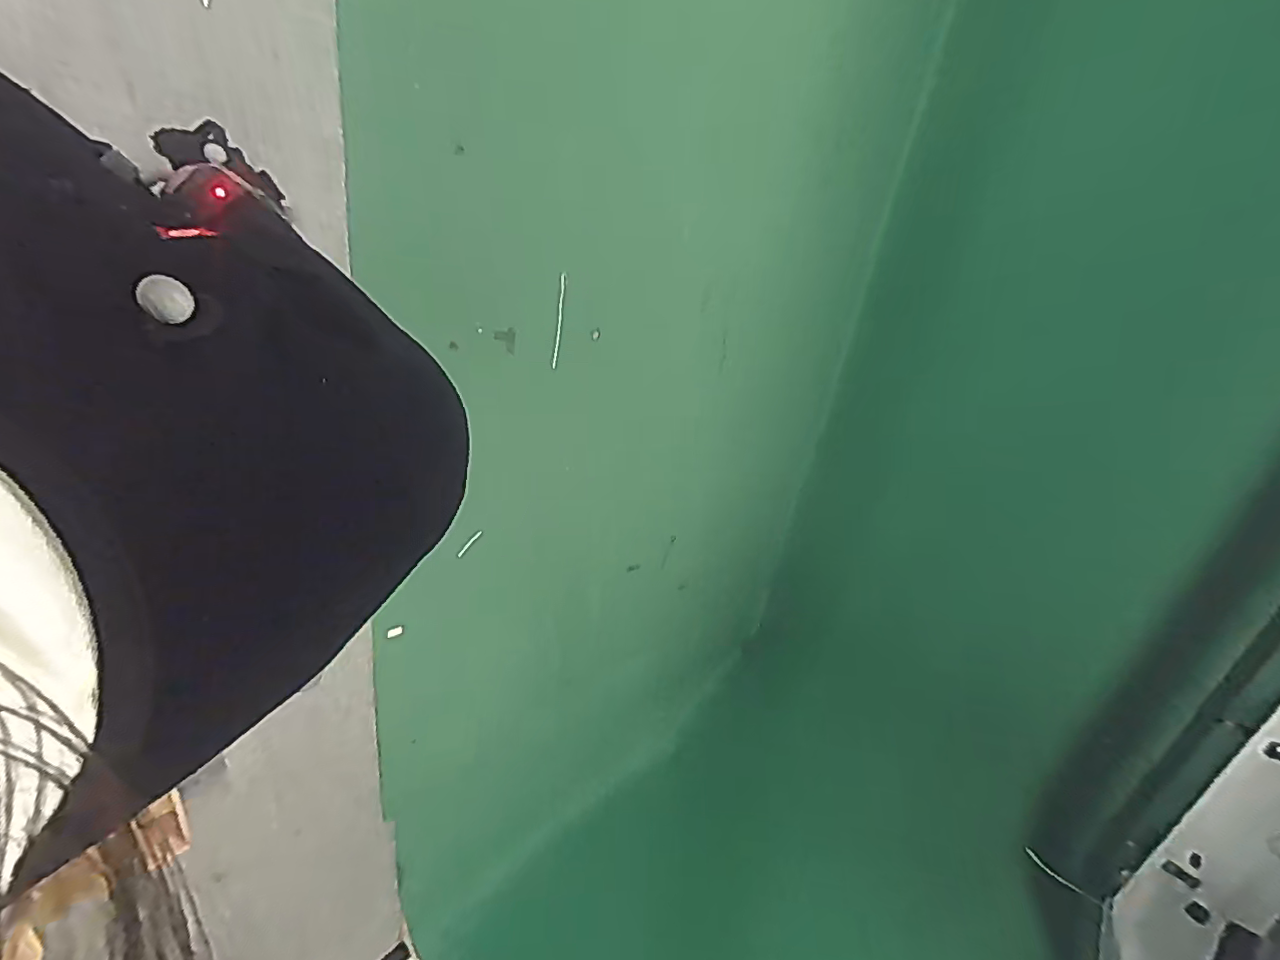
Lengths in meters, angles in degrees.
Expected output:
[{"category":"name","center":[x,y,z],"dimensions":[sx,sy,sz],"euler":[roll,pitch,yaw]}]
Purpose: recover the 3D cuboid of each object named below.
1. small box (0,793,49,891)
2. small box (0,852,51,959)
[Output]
[{"category":"small box","center":[-1.370,0.791,1.103],"dimensions":[0.179,0.176,0.168],"euler":[-21,130,-44]},{"category":"small box","center":[-1.238,0.846,0.990],"dimensions":[0.179,0.176,0.168],"euler":[-23,130,-42]}]
